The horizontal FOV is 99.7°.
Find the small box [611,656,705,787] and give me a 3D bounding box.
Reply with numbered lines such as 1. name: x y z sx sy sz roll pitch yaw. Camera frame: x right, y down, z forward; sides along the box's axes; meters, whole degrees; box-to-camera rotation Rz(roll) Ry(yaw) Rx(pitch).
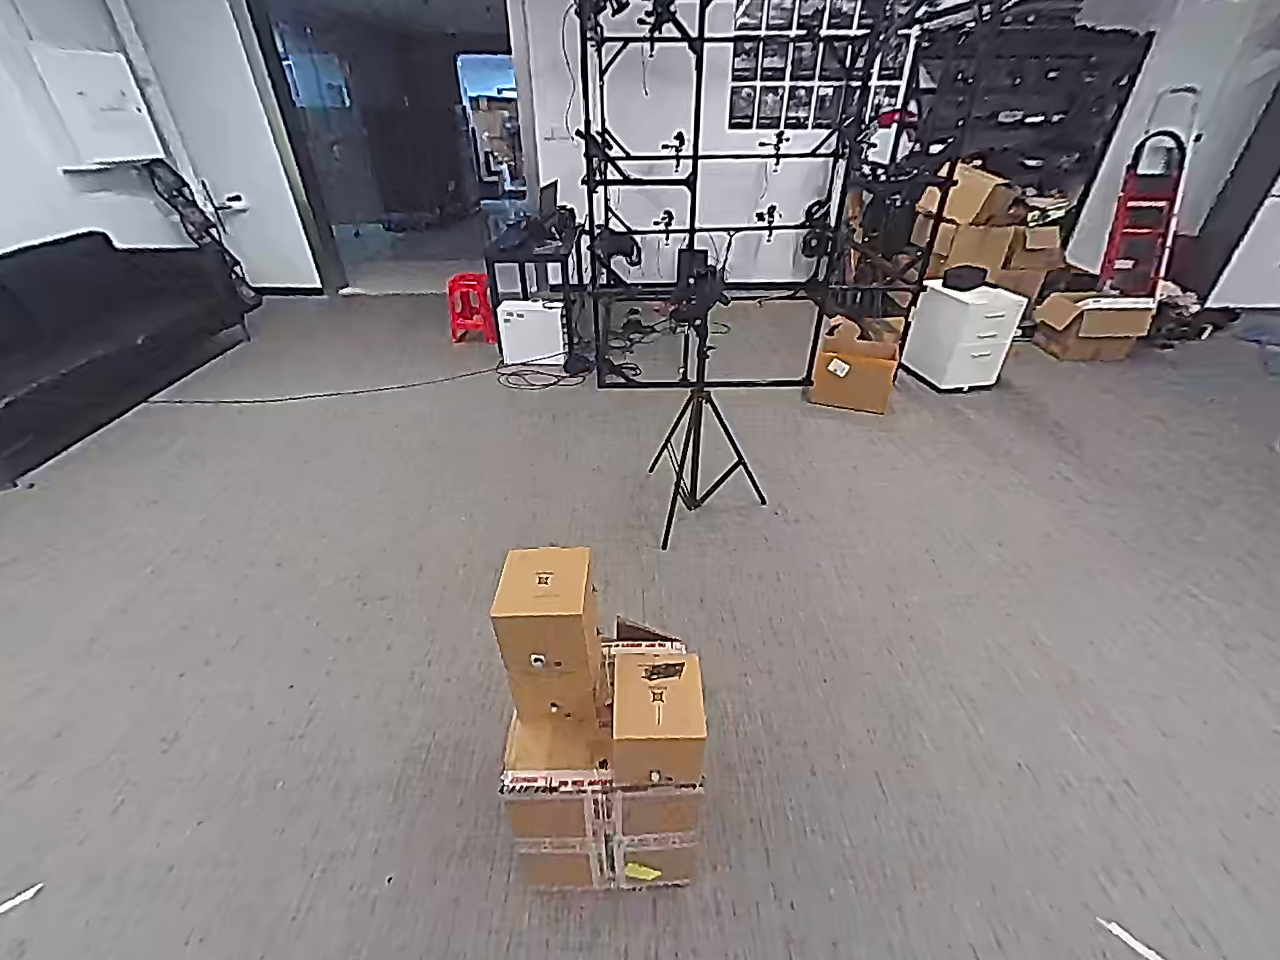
1. small box: 0.029 0.465 1.048 0.168 0.176 0.179 0 36 -1

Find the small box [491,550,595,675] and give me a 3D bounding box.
1. small box: -0.179 0.258 1.059 0.168 0.176 0.179 -2 36 1

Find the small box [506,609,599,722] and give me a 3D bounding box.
1. small box: -0.177 0.390 1.154 0.168 0.176 0.179 -2 35 1
